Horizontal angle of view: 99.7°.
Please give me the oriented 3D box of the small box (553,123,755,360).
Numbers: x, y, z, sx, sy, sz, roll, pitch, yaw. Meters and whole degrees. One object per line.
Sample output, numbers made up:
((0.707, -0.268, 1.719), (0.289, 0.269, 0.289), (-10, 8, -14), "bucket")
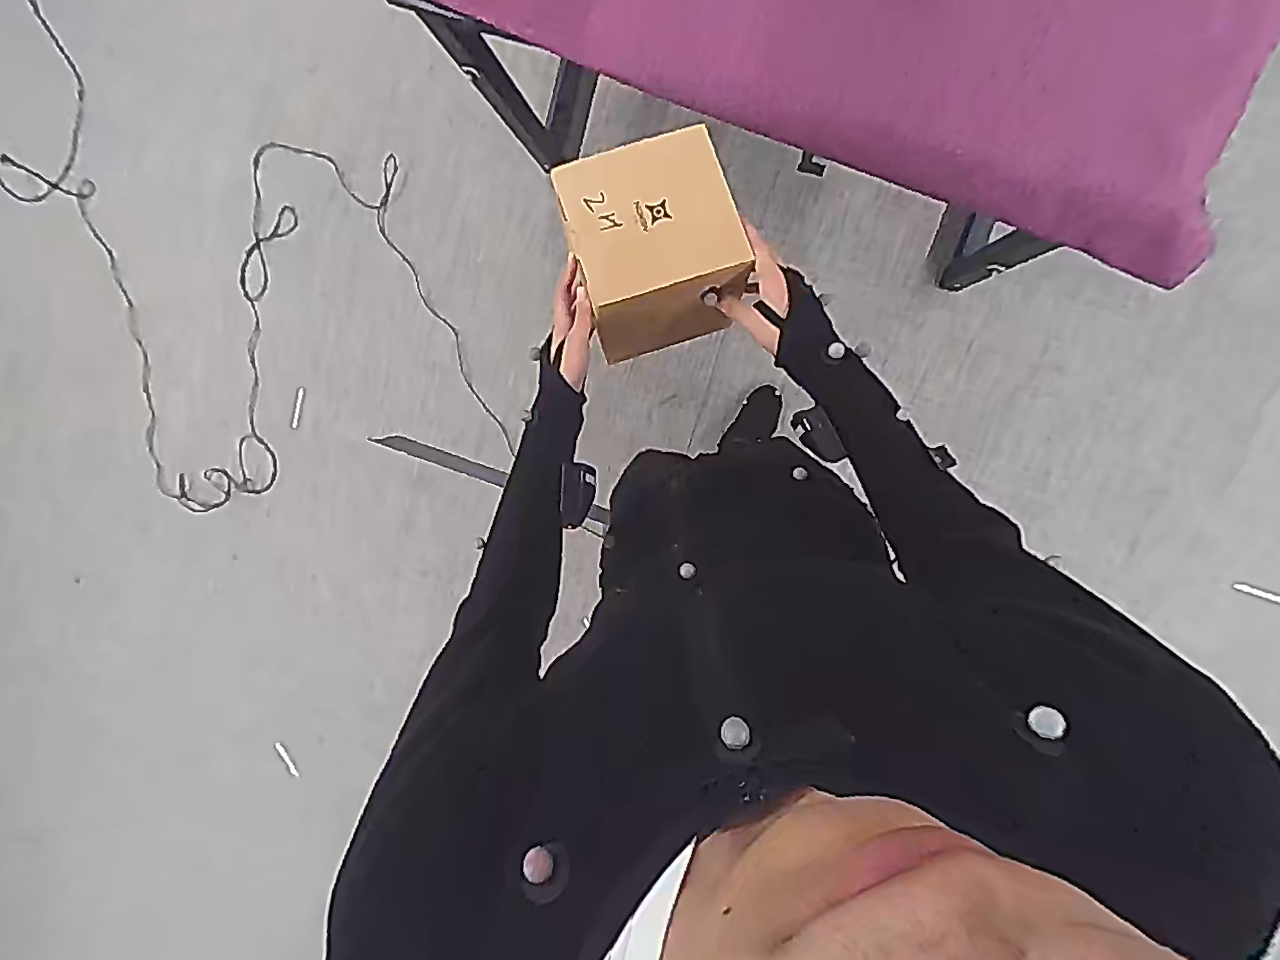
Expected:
((0.015, -0.263, 0.634), (0.179, 0.176, 0.168), (-17, 81, 0), "small box")
